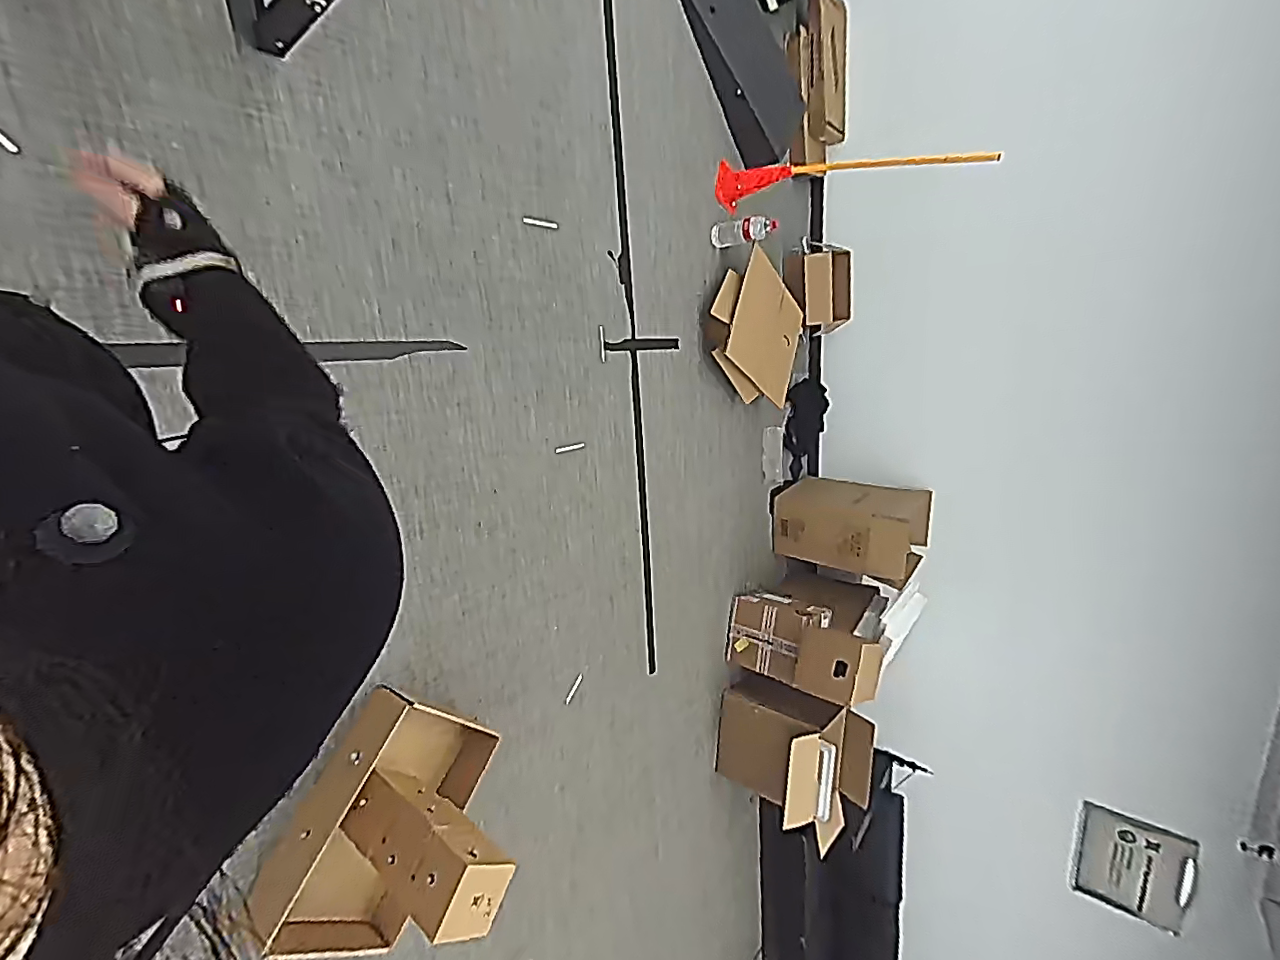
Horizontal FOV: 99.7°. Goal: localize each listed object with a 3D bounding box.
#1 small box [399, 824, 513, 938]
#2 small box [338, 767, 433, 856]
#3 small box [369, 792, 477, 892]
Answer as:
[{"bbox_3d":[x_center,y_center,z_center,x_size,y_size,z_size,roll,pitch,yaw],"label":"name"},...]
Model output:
[{"bbox_3d":[-0.459,0.987,1.345,0.179,0.176,0.168,43,65,-46],"label":"small box"},{"bbox_3d":[-0.713,0.949,1.547,0.179,0.176,0.168,49,59,-43],"label":"small box"},{"bbox_3d":[-0.584,0.964,1.450,0.179,0.176,0.168,45,63,-47],"label":"small box"}]
